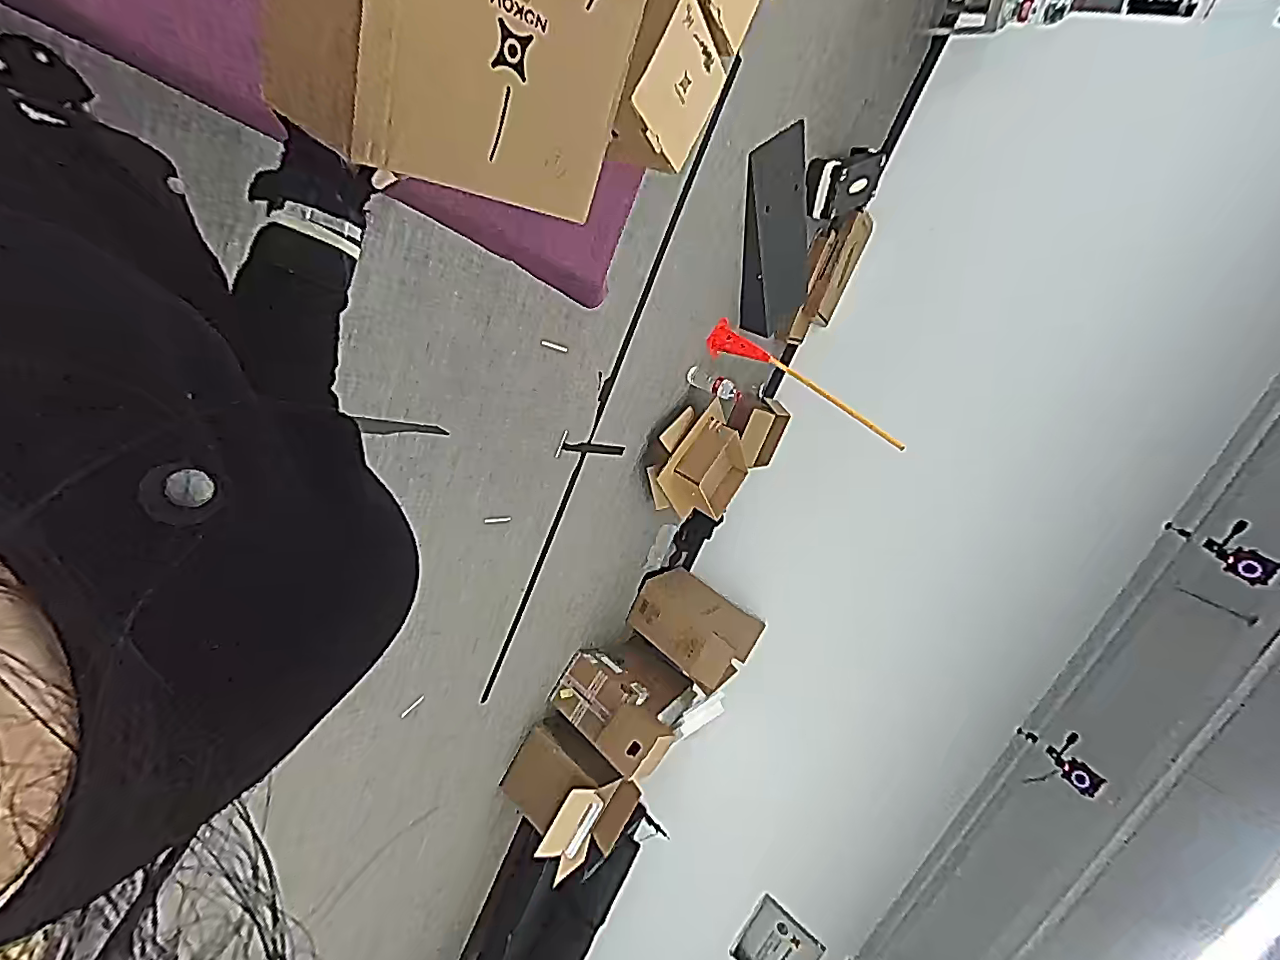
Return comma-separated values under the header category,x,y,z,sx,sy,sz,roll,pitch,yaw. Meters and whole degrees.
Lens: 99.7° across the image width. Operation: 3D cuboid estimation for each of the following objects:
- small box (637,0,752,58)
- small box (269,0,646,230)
category,x,y,z,sx,sy,sz,roll,pitch,yaw
small box,0.073,-0.796,0.821,0.168,0.176,0.179,6,111,-61
small box,-0.124,-0.296,0.356,0.168,0.176,0.179,-11,132,-46
